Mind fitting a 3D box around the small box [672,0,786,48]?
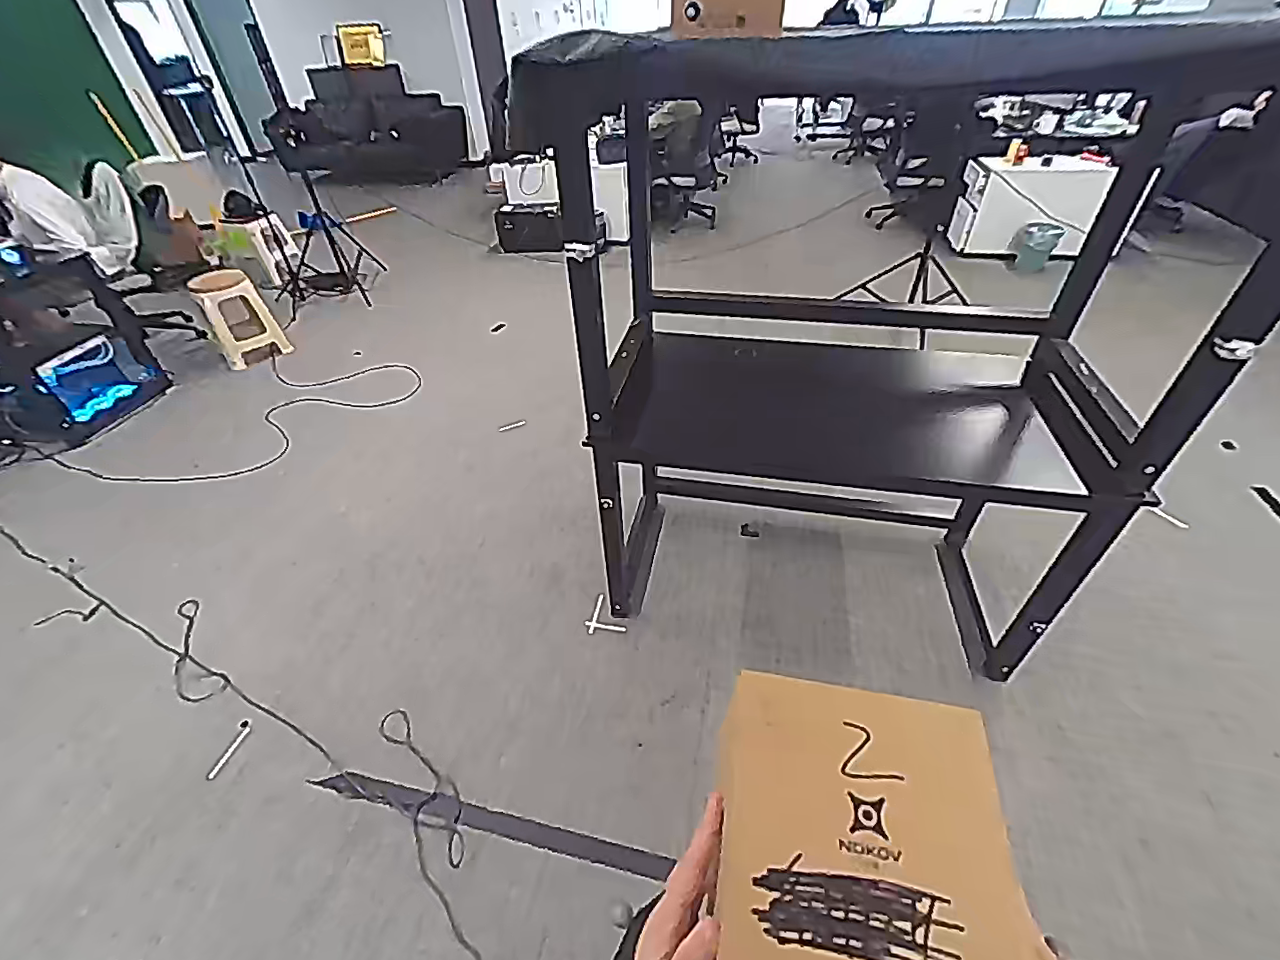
[{"bbox_3d":[0.138,-0.760,0.810,0.168,0.176,0.179,6,39,8],"label":"small box"}]
